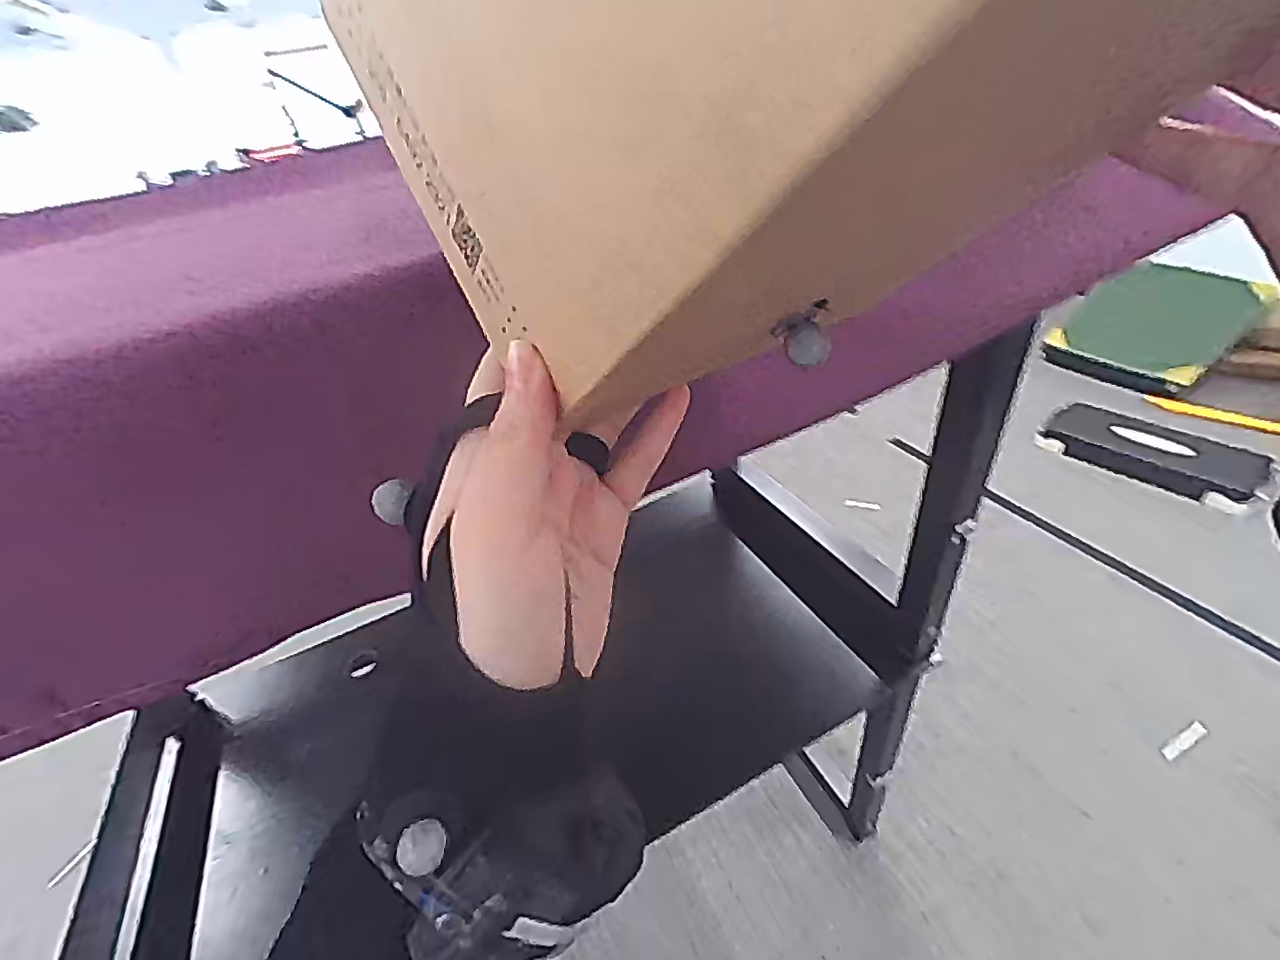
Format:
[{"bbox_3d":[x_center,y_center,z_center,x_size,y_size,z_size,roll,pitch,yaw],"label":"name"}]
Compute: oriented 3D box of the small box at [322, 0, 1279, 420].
[{"bbox_3d":[0.037,-0.135,0.139,0.179,0.168,0.176,-26,0,-31],"label":"small box"}]
